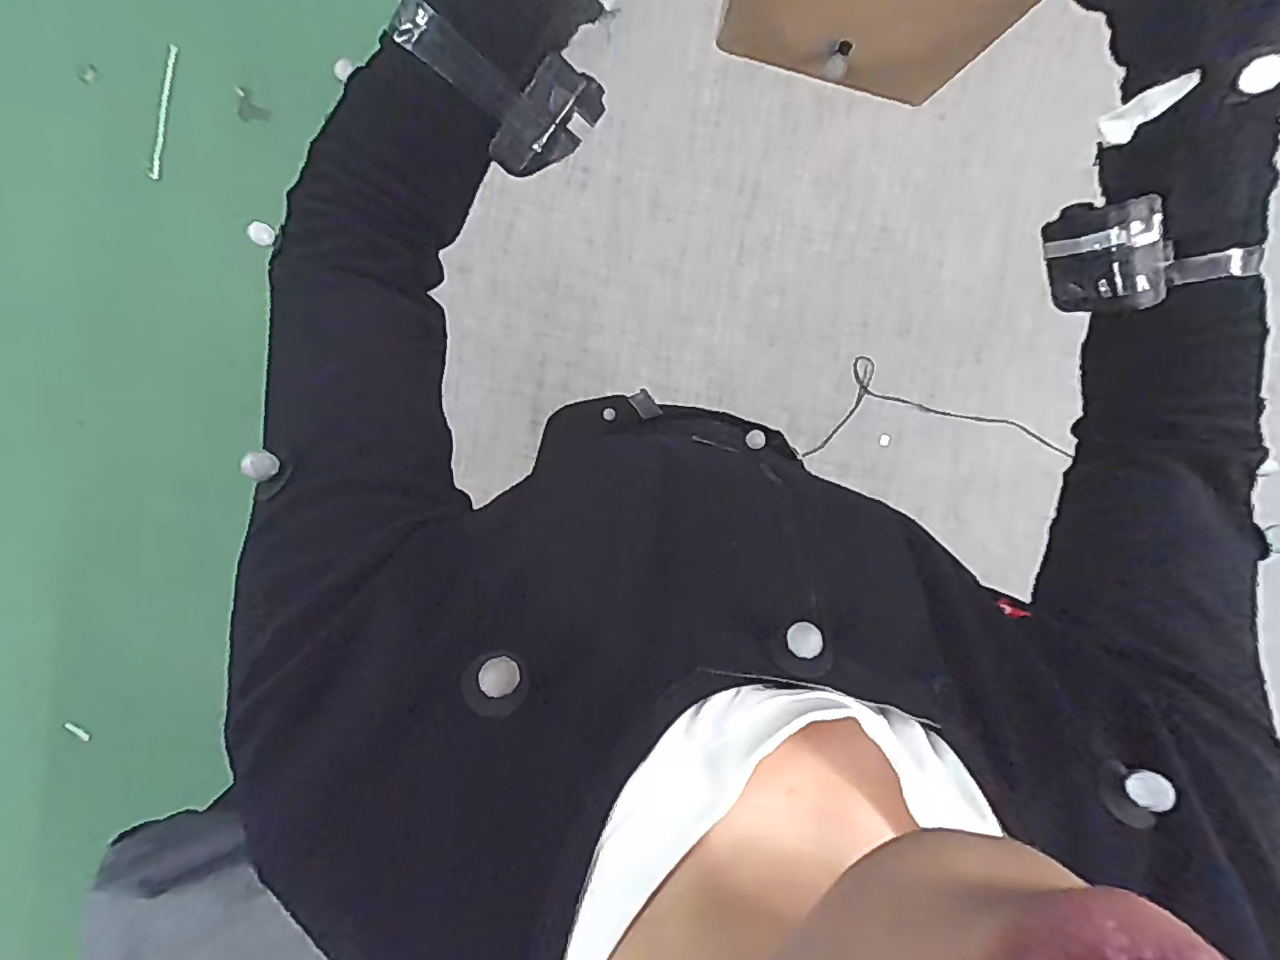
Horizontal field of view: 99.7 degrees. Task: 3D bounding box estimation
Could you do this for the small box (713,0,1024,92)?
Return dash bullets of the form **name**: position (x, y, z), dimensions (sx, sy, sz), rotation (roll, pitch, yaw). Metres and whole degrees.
- **small box**: position (0.162, -0.385, 0.336), dimensions (0.179, 0.176, 0.168), rotation (11, 98, -7)
